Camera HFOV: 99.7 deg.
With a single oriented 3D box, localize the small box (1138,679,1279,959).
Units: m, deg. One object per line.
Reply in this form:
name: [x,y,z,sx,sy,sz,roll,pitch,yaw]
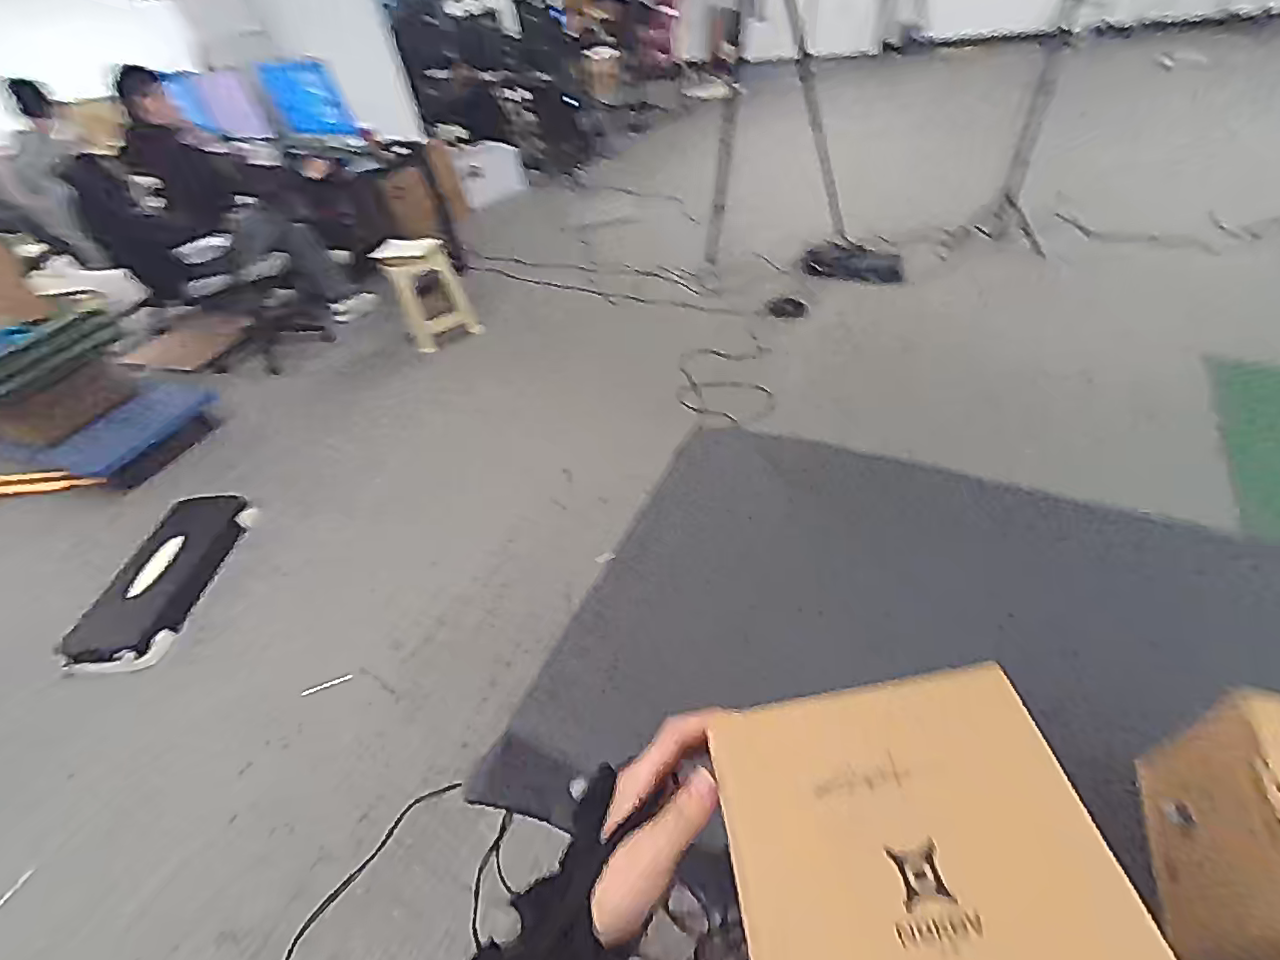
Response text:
small box: [0.539,0.287,0.411,0.179,0.176,0.168,12,48,22]
